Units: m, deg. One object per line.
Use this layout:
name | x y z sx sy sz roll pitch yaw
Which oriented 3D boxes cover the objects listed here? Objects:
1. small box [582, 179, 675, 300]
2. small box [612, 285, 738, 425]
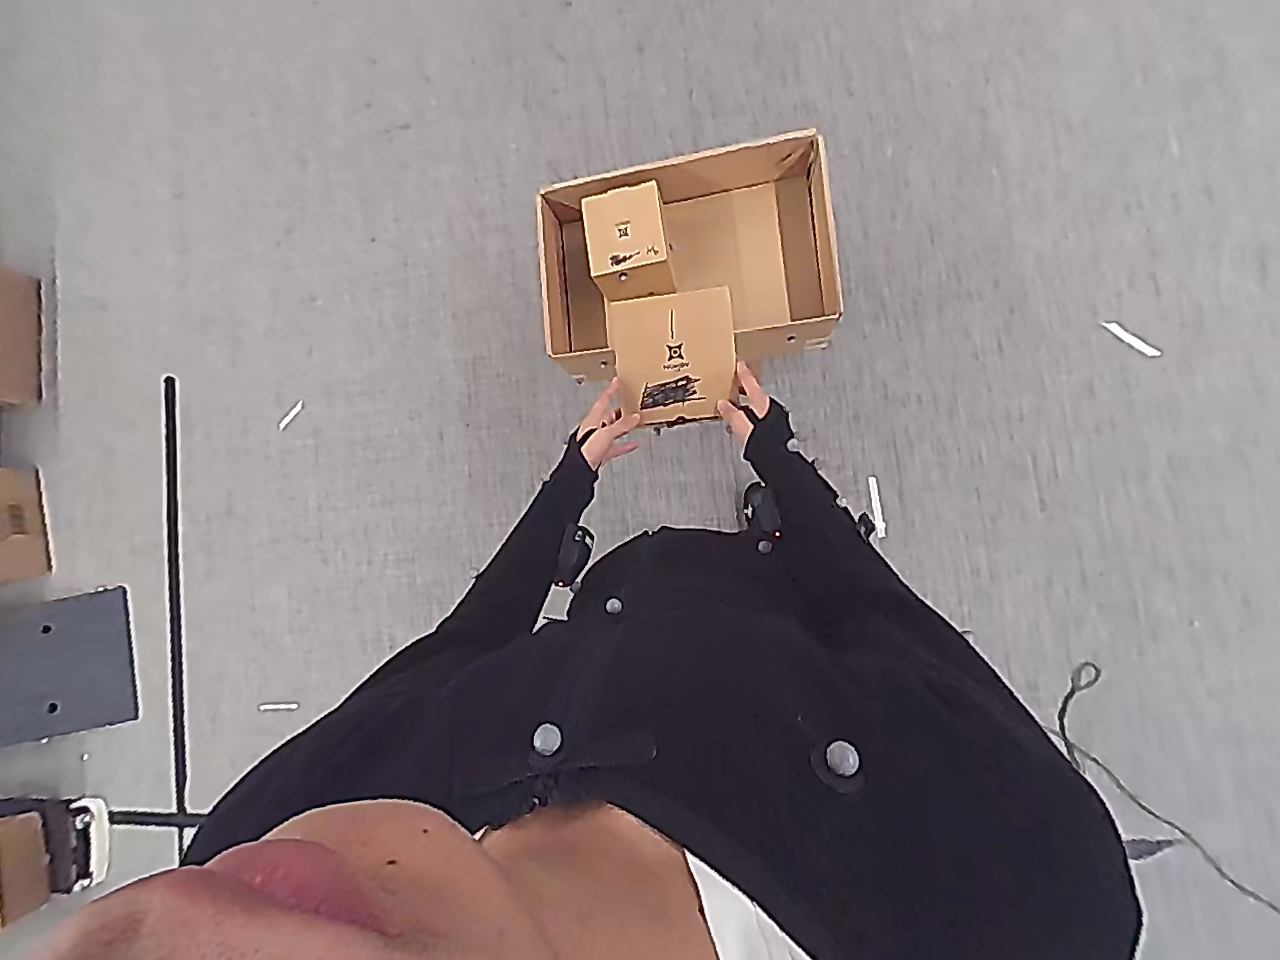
small box | -0.021 -0.525 1.206 0.168 0.176 0.179 -8 85 11
small box | 0.059 -0.178 0.822 0.168 0.176 0.179 -5 94 8
